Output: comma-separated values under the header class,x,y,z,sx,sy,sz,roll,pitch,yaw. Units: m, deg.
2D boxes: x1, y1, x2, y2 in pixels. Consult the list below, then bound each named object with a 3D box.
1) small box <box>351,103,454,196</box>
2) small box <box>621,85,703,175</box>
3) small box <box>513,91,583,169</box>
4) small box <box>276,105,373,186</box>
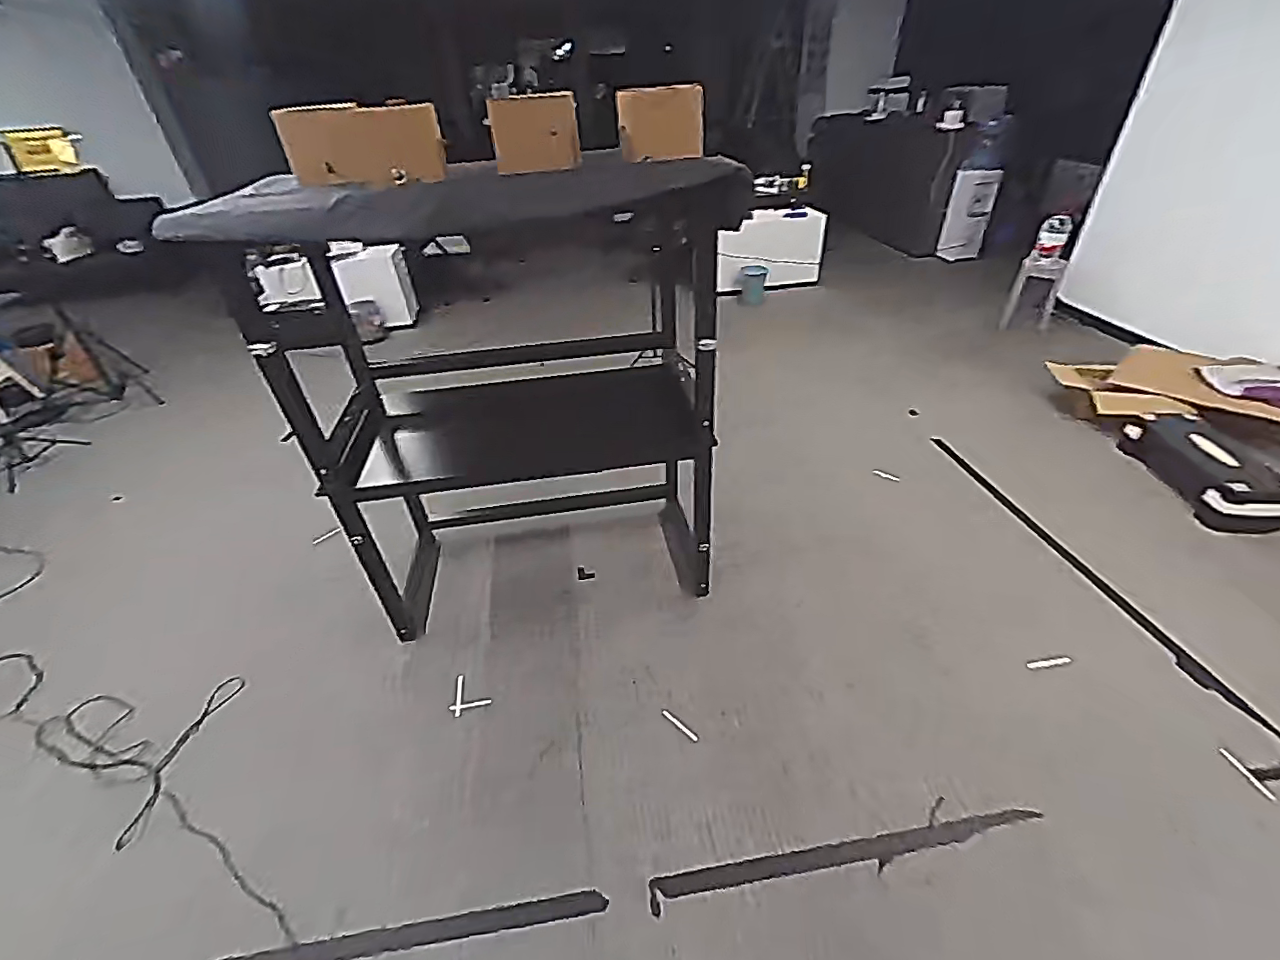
class,x,y,z,sx,sy,sz,roll,pitch,yaw
small box,-0.536,-0.762,1.247,0.168,0.176,0.179,-11,36,-8
small box,0.053,-0.840,1.302,0.168,0.176,0.179,-9,36,-7
small box,-0.256,-0.980,1.516,0.168,0.176,0.179,-8,37,-6
small box,-0.824,-0.898,1.450,0.179,0.176,0.168,-8,37,-8
